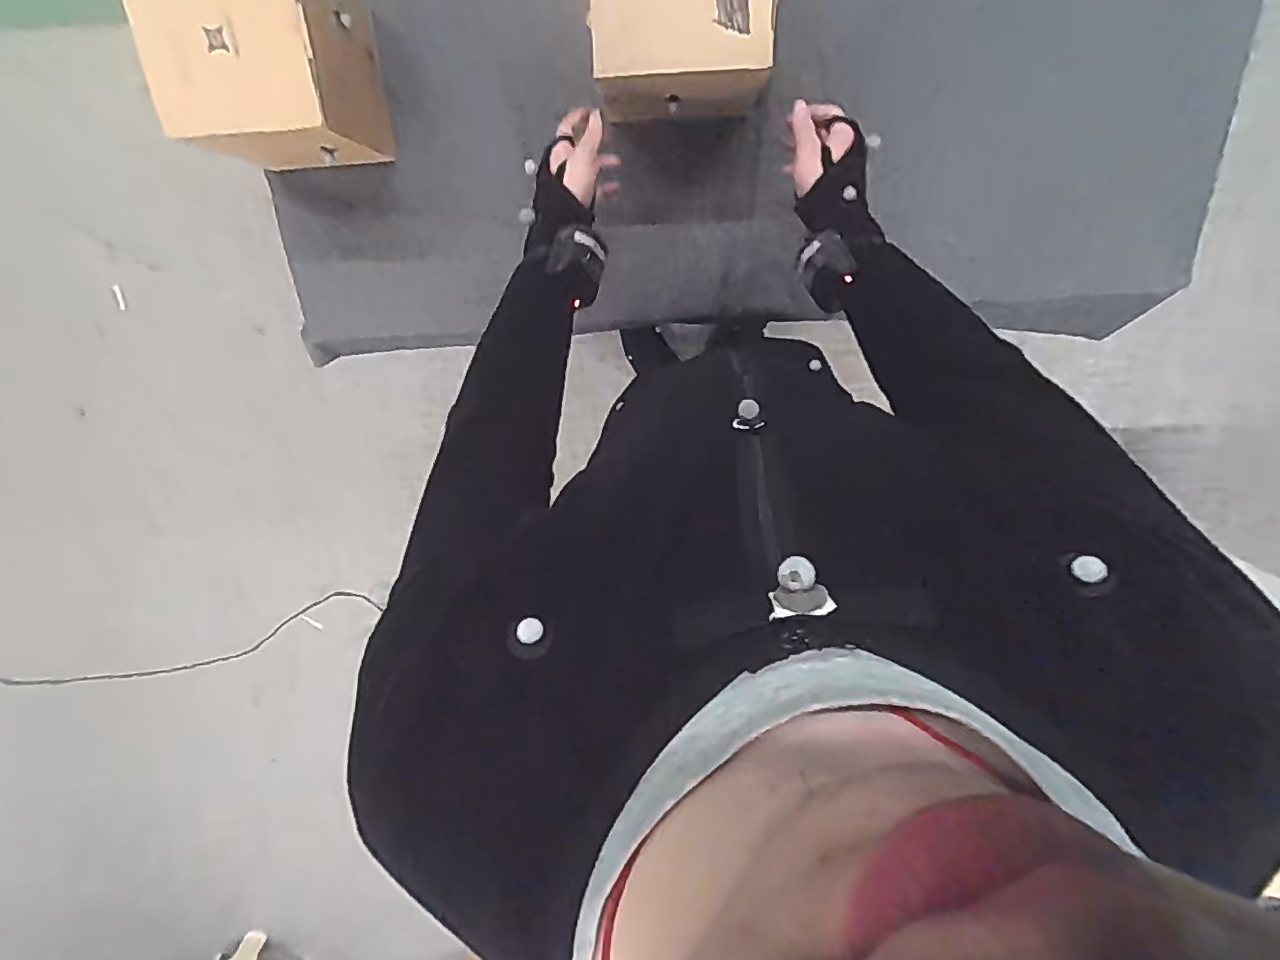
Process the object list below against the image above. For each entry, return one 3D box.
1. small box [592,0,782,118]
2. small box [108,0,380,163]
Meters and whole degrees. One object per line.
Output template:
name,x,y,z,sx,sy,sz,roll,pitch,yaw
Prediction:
small box,0.044,-0.494,0.560,0.179,0.176,0.168,-1,110,2
small box,-0.406,-0.456,0.583,0.179,0.176,0.168,-3,109,4
